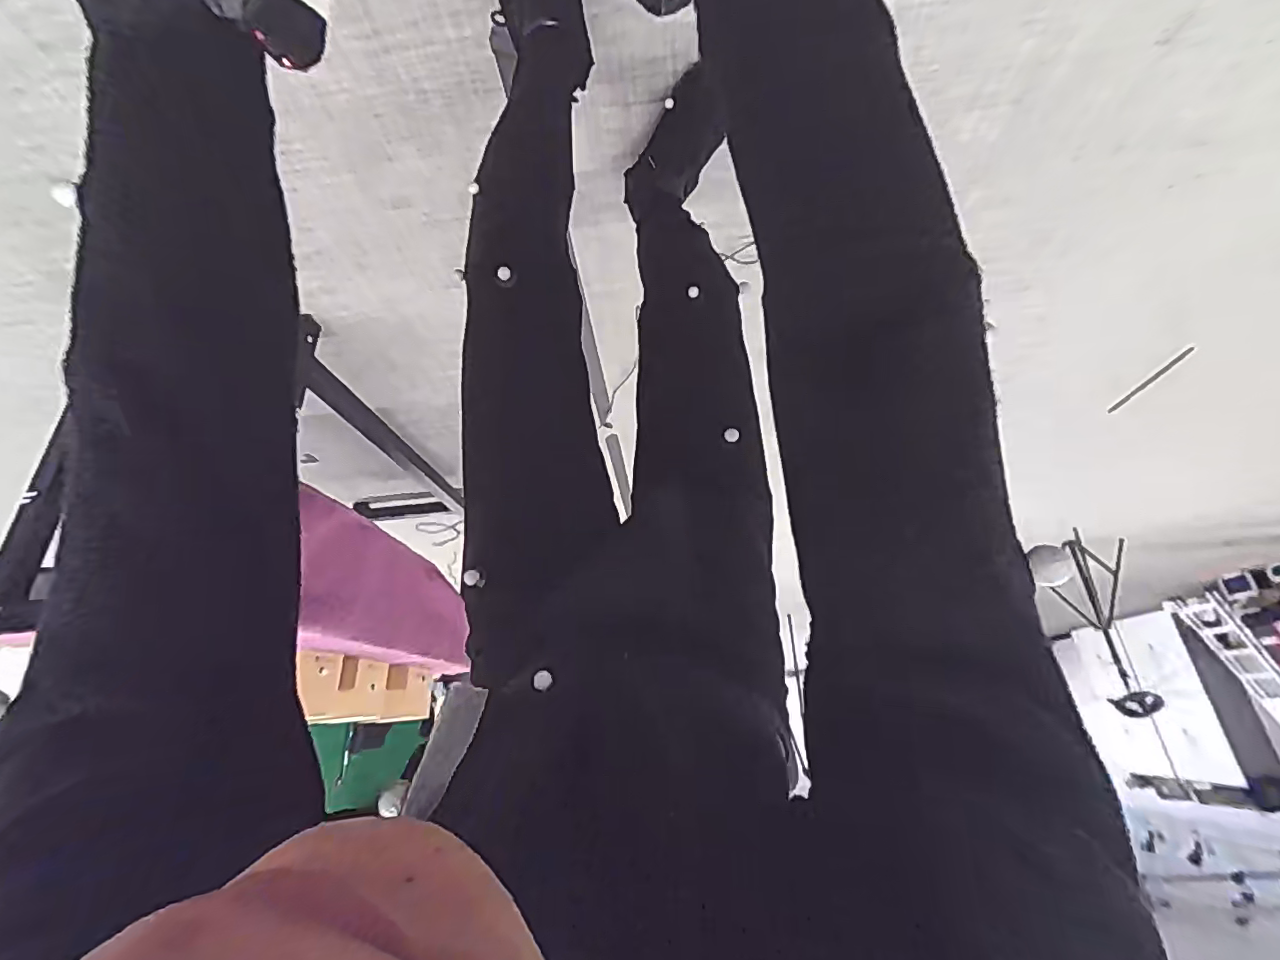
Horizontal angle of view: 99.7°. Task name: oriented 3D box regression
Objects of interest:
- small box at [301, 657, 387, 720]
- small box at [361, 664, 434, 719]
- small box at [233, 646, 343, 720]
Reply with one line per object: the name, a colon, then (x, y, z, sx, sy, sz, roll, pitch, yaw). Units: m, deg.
small box: (-0.908, 0.647, 1.678, 0.179, 0.176, 0.168, -6, 155, 5)
small box: (-0.859, 0.756, 1.925, 0.179, 0.176, 0.168, -7, 156, 7)
small box: (-0.938, 0.549, 1.459, 0.179, 0.176, 0.168, -8, 156, 8)
